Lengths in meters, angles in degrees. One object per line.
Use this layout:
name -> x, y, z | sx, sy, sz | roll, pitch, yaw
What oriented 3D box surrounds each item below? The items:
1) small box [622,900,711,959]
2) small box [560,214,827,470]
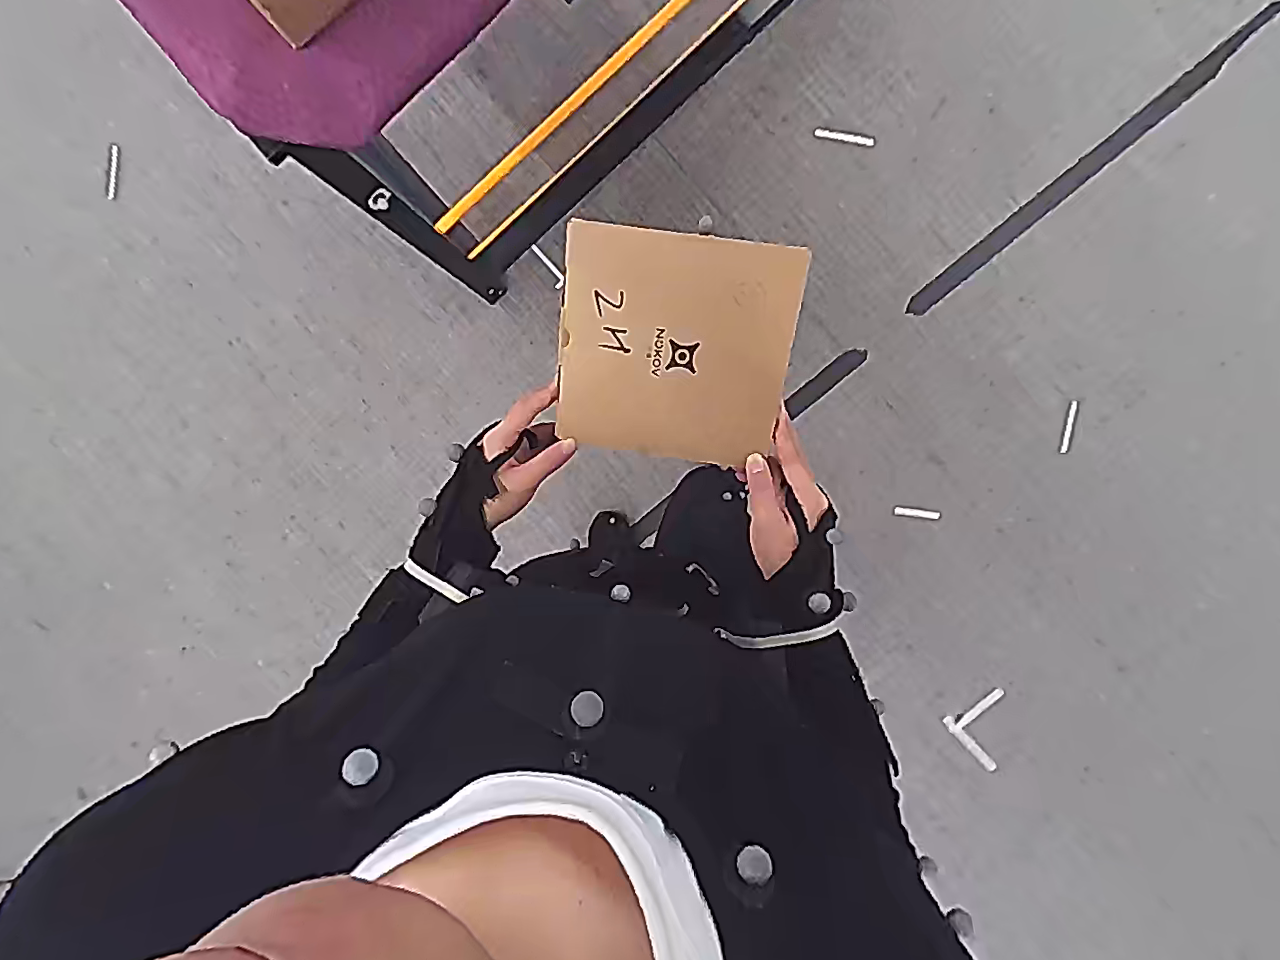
small box -> 0.064, 1.201, 1.324 | 0.168, 0.176, 0.179 | 43, 95, 1
small box -> 0.041, -0.125, 0.471 | 0.179, 0.176, 0.168 | 10, 112, 5
